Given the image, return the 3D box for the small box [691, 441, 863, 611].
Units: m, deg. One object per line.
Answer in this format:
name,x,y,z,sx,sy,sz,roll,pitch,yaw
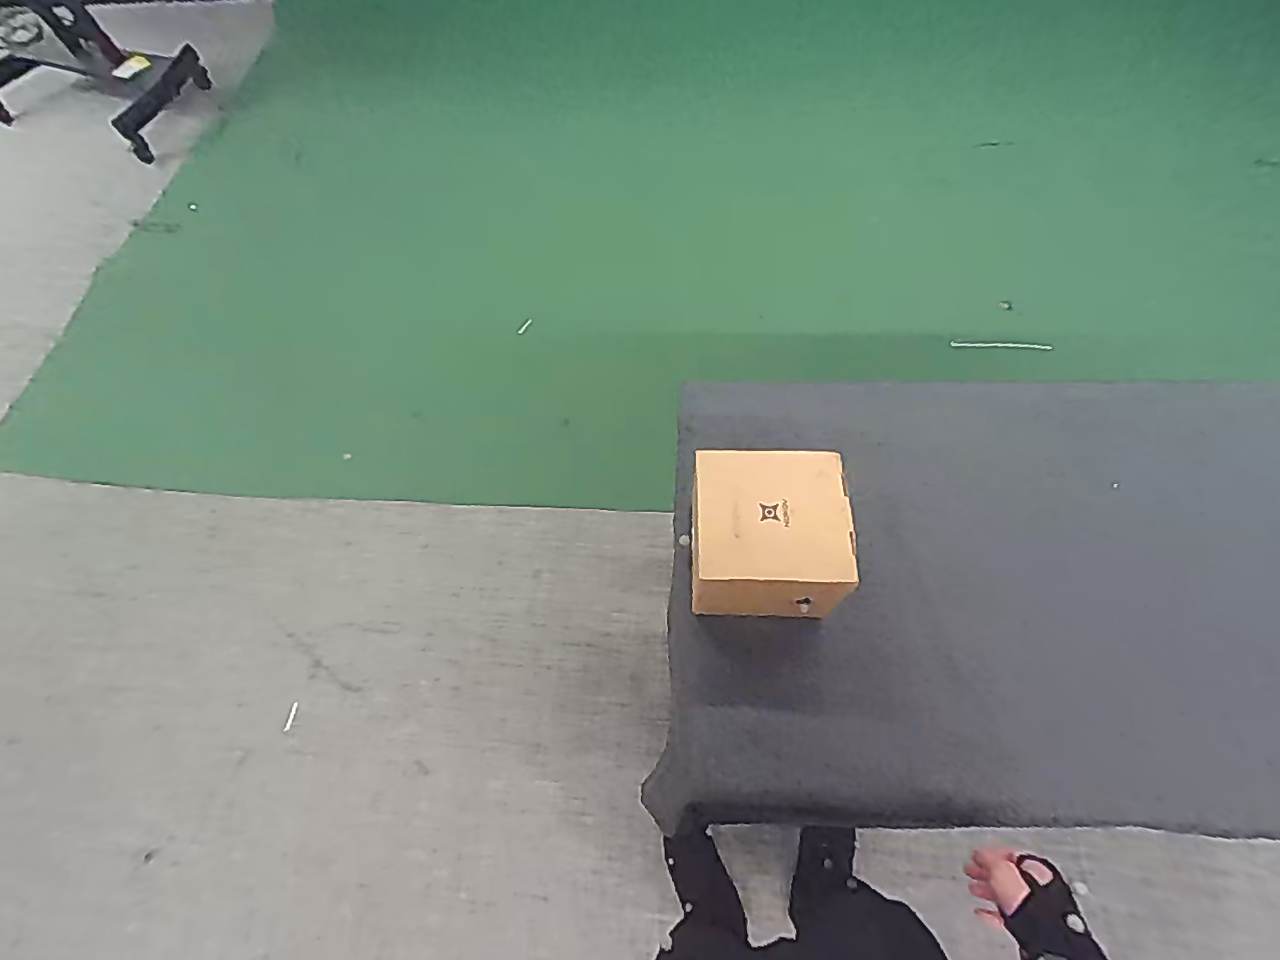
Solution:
small box,0.158,0.065,0.687,0.179,0.176,0.168,1,62,3
